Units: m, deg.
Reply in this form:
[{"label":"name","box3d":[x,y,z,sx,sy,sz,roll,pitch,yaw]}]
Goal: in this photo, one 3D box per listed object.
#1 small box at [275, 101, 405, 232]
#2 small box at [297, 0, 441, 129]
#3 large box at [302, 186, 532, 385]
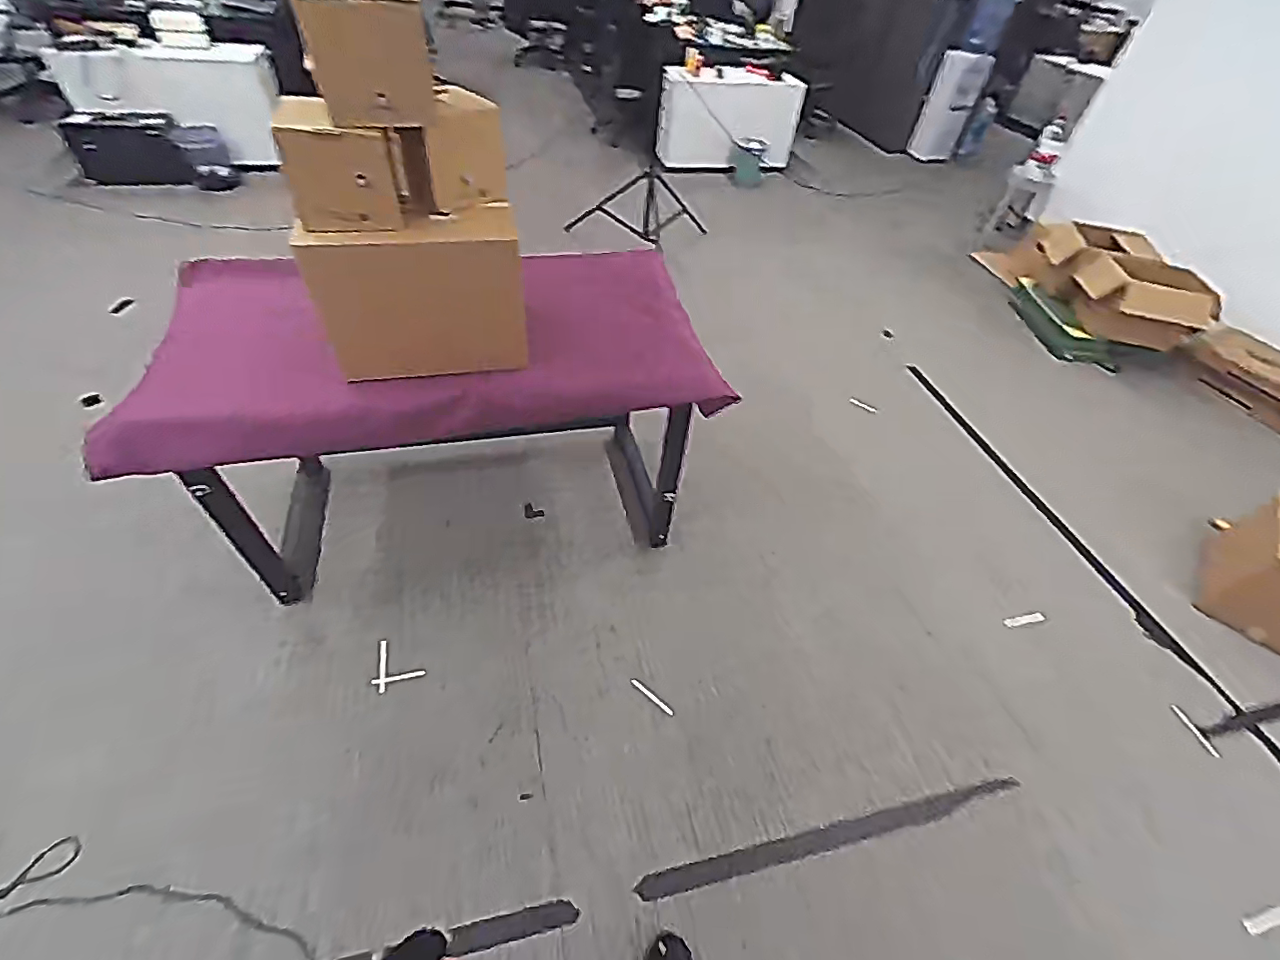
[{"label":"small box","box3d":[-0.535,-0.571,0.991,0.168,0.176,0.179,-8,48,-16]},{"label":"small box","box3d":[-0.436,-0.703,0.900,0.179,0.176,0.168,-10,50,-15]},{"label":"large box","box3d":[-0.469,-0.439,1.210,0.408,0.320,0.320,-7,50,-14]}]
